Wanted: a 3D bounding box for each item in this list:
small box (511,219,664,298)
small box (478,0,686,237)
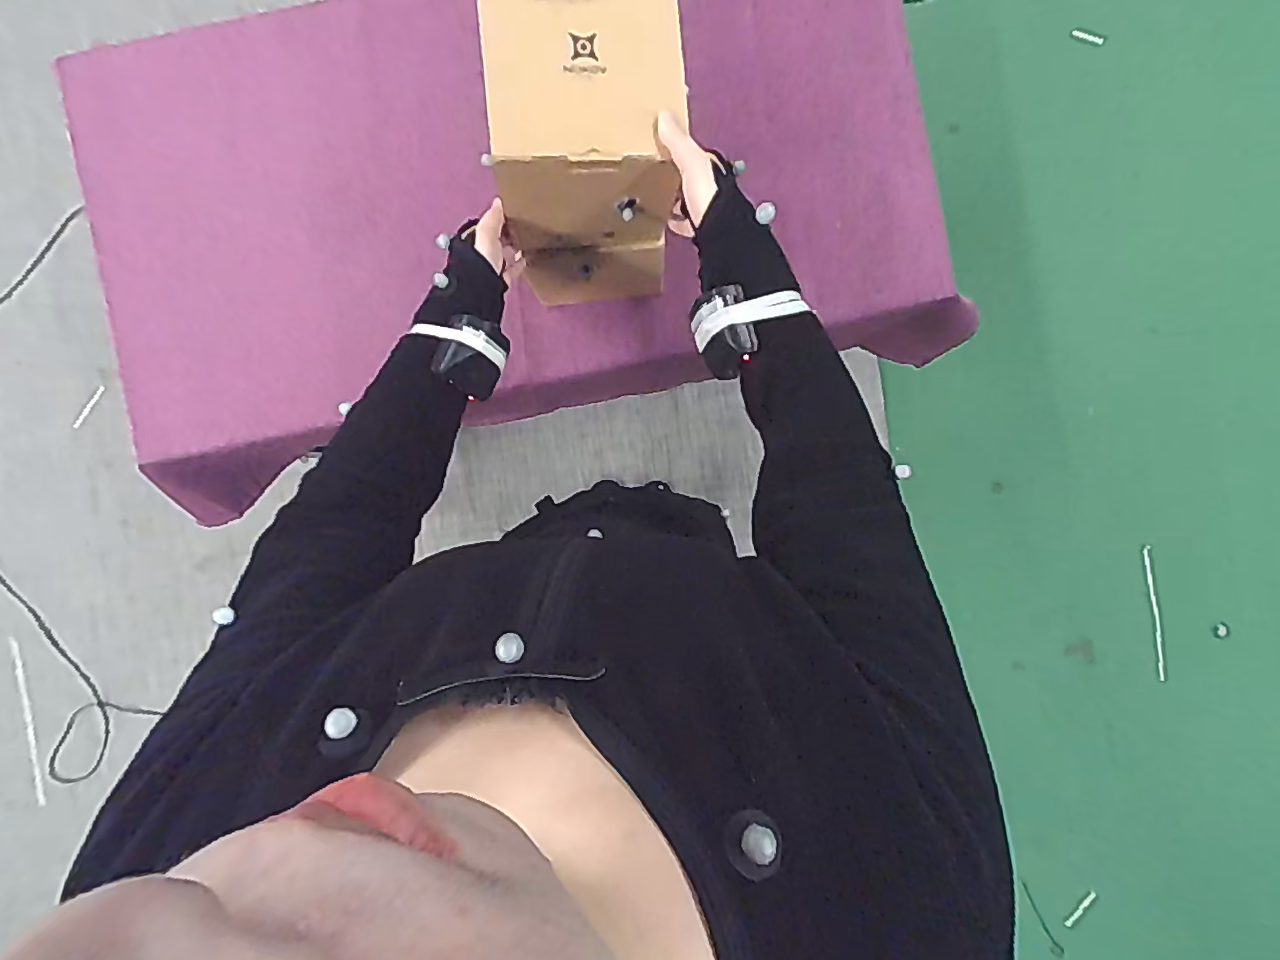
[{"bbox_3d":[-0.062,-0.344,0.694,0.179,0.176,0.168,-5,91,2],"label":"small box"},{"bbox_3d":[-0.055,-0.351,0.522,0.168,0.176,0.179,-5,90,-7],"label":"small box"}]
